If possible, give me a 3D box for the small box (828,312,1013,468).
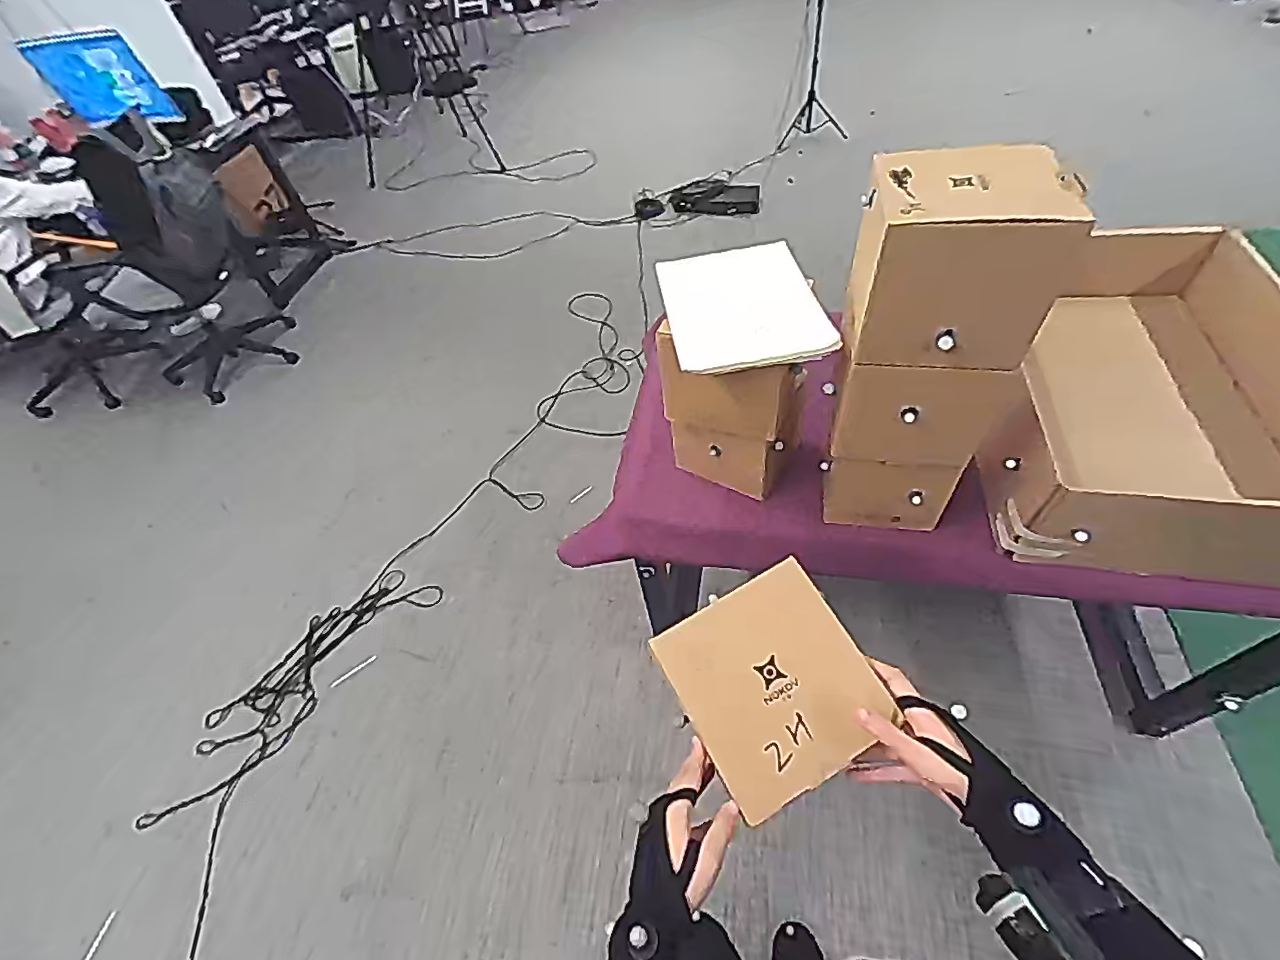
[{"bbox_3d":[0.358,-0.132,0.728,0.179,0.176,0.168,5,51,13],"label":"small box"}]

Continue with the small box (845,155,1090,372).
[{"bbox_3d":[0.338,-0.237,0.602,0.179,0.176,0.168,5,50,12],"label":"small box"}]

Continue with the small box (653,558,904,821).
[{"bbox_3d":[0.122,0.209,0.561,0.168,0.176,0.179,-27,70,-8],"label":"small box"}]

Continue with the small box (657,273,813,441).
[{"bbox_3d":[0.143,-0.180,0.805,0.179,0.176,0.168,14,55,21],"label":"small box"}]

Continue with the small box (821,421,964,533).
[{"bbox_3d":[0.385,-0.036,0.856,0.168,0.176,0.179,5,50,12],"label":"small box"}]
